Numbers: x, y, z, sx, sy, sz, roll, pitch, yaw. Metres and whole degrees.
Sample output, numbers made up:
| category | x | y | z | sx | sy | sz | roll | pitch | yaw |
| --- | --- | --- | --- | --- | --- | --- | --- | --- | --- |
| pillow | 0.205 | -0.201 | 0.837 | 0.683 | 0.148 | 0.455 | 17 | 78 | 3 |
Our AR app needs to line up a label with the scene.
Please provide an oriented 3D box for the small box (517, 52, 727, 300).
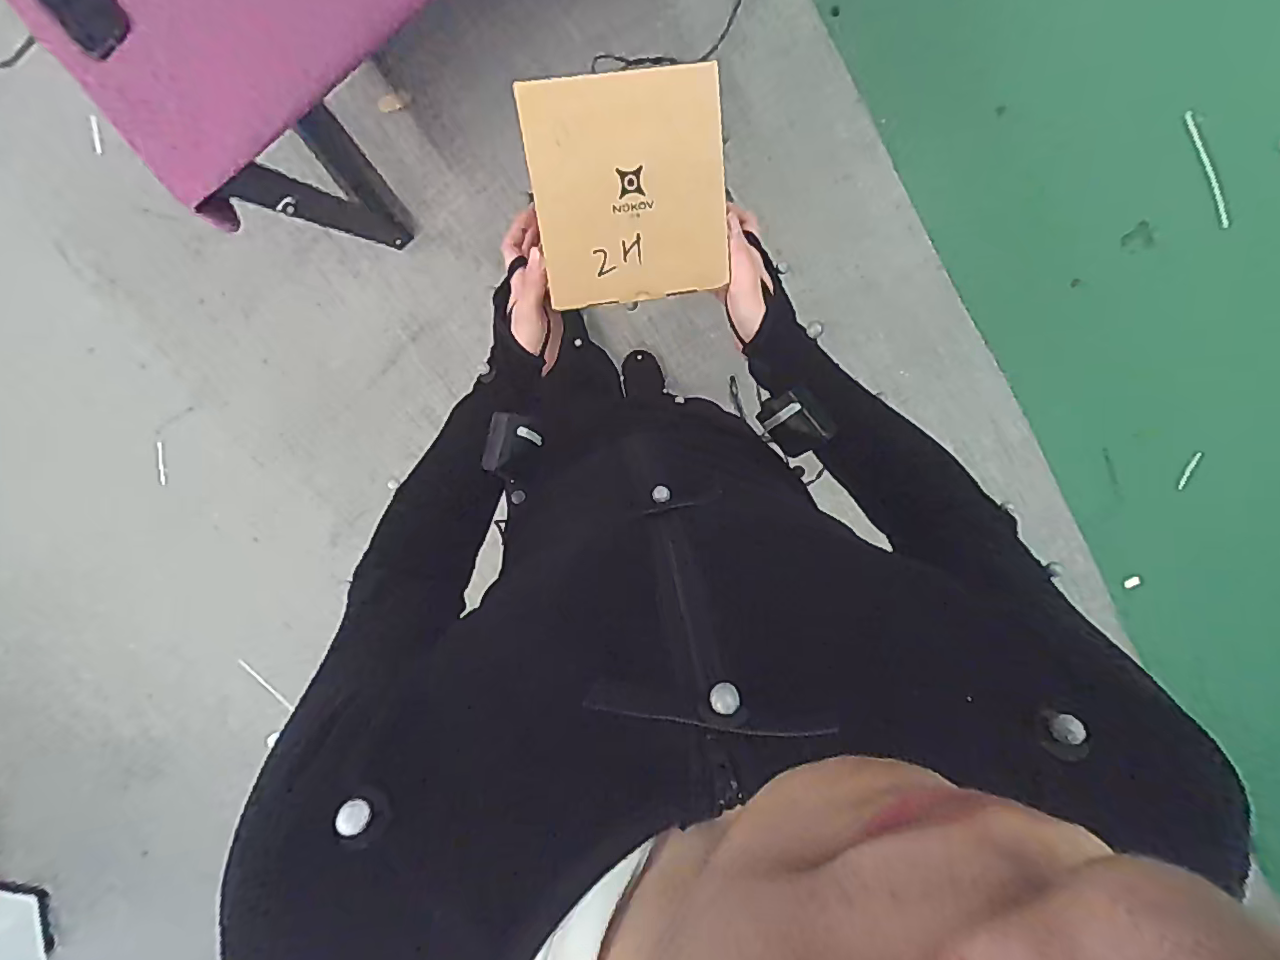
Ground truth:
| category | x | y | z | sx | sy | sz | roll | pitch | yaw |
| --- | --- | --- | --- | --- | --- | --- | --- | --- | --- |
| small box | -0.018 | -0.279 | 0.530 | 0.168 | 0.176 | 0.179 | -8 | 112 | -3 |
